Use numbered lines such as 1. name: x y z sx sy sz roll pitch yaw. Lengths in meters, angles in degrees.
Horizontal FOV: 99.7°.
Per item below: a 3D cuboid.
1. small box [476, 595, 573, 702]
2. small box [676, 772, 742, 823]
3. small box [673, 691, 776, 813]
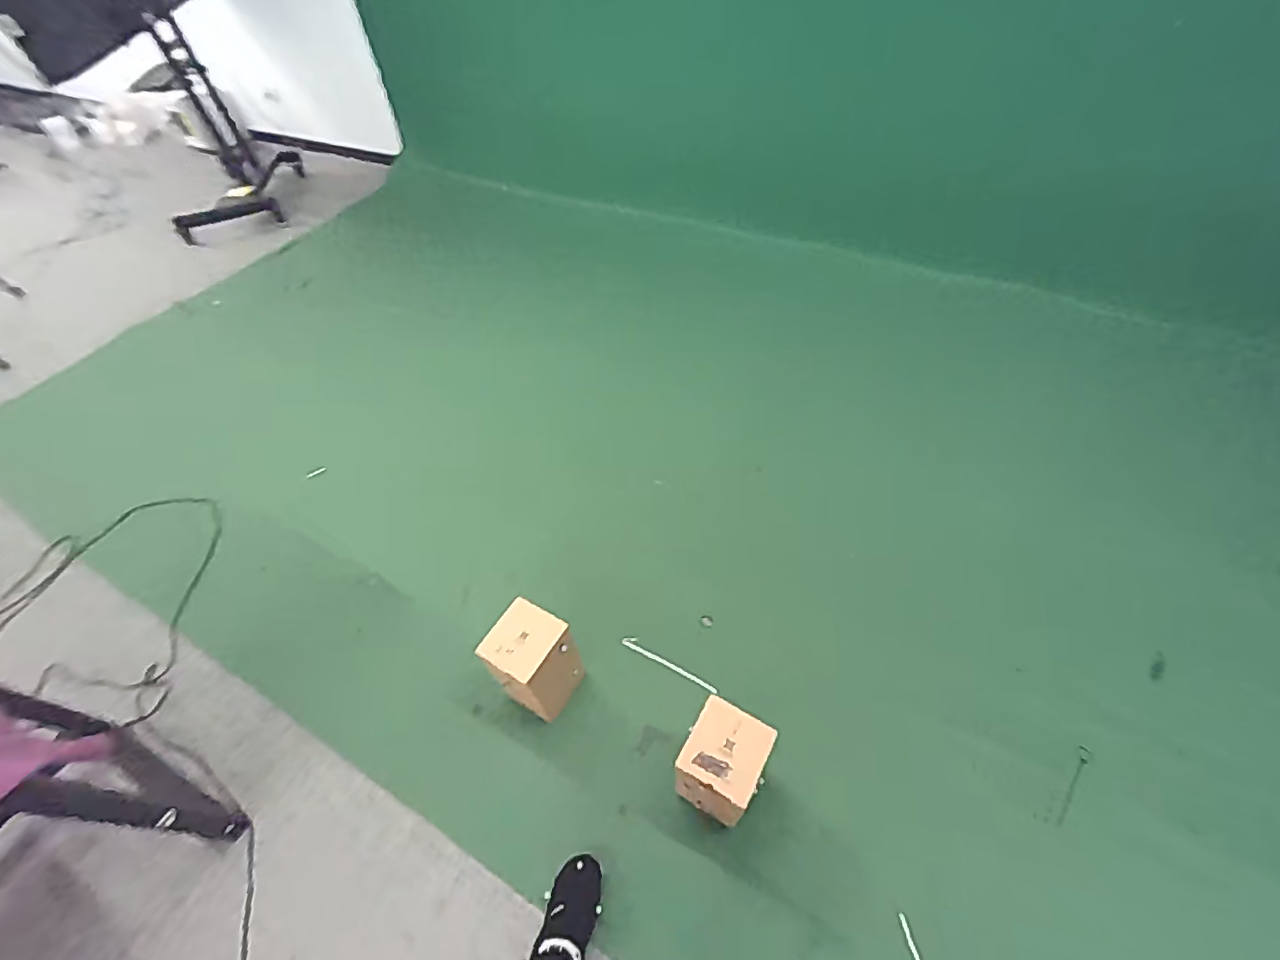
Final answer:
1. small box: -0.289 0.438 1.401 0.168 0.176 0.179 24 57 22
2. small box: 0.197 0.720 1.352 0.168 0.176 0.179 23 58 20
3. small box: 0.188 0.620 1.222 0.168 0.176 0.179 25 57 21
